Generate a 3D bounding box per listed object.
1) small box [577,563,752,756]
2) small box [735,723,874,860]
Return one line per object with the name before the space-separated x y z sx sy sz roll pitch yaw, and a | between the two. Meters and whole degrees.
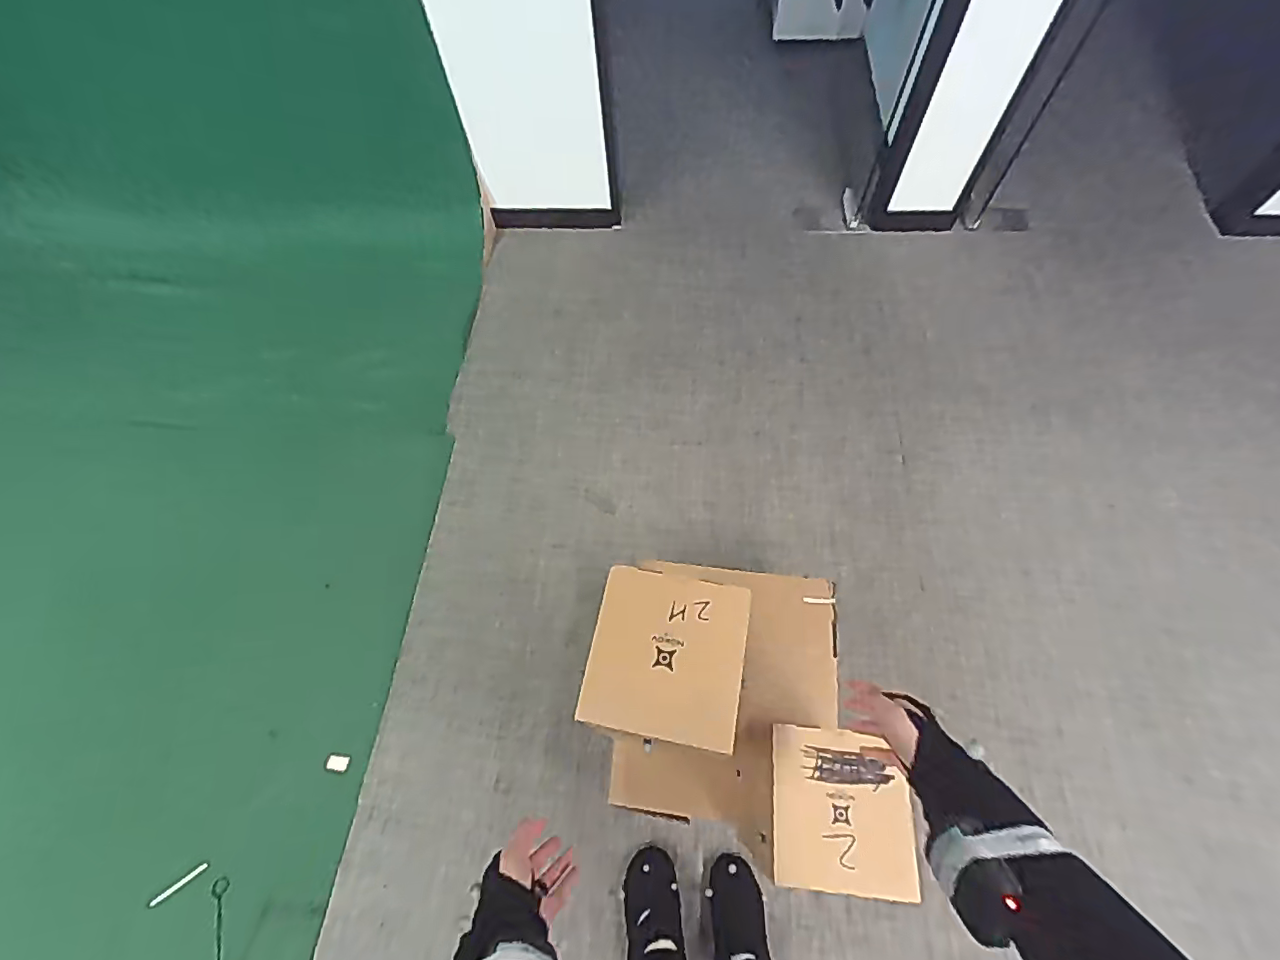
small box | 0.035 0.222 0.654 0.168 0.176 0.179 9 63 8
small box | 0.254 0.494 0.874 0.179 0.176 0.168 3 62 4
